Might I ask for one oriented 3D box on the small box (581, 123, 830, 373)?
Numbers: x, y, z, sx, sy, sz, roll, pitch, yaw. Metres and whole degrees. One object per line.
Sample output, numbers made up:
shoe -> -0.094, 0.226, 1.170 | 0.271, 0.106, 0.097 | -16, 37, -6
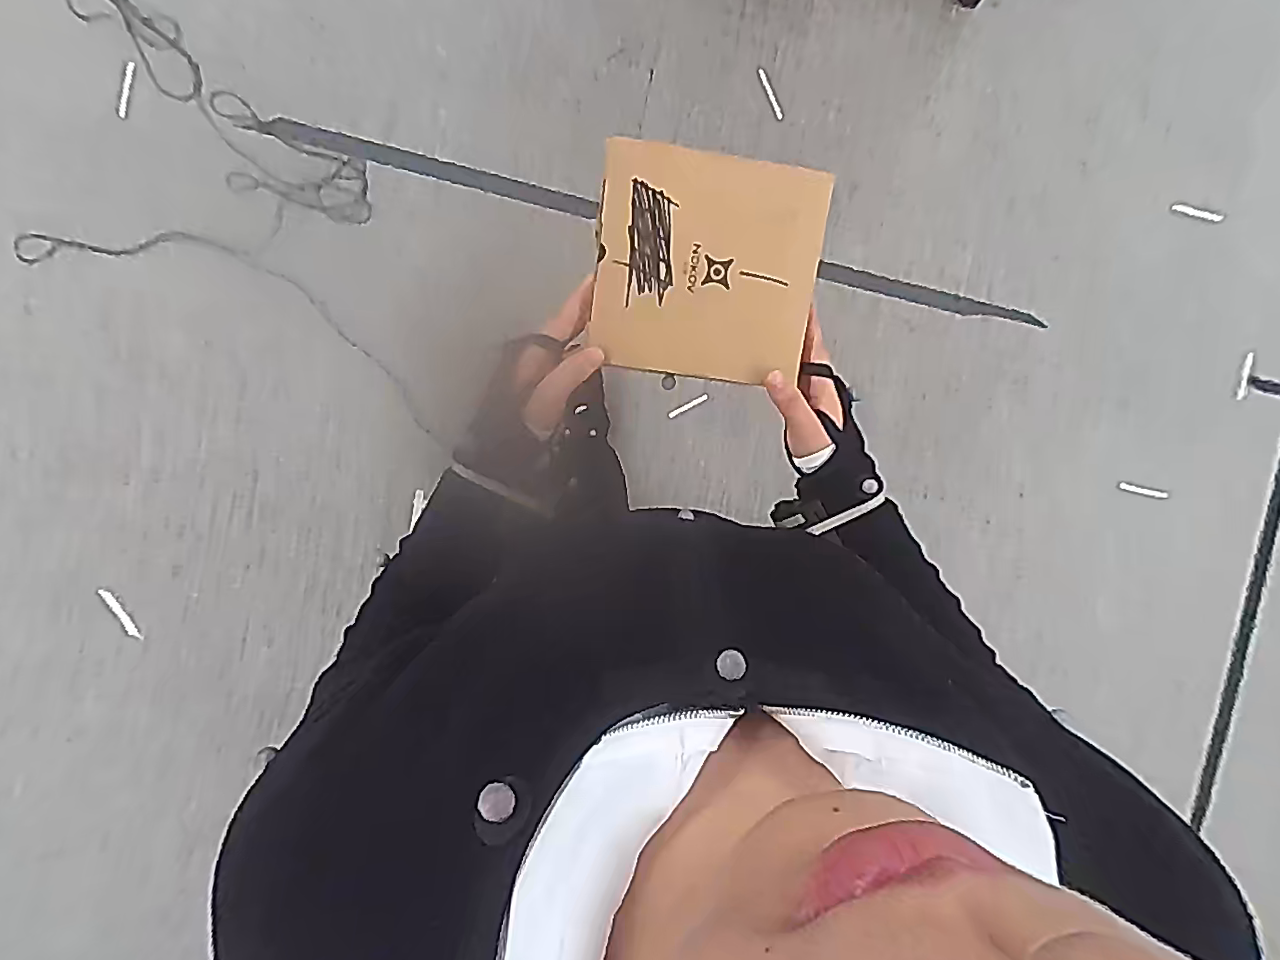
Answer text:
small box -> 0.045, -0.190, 0.498 | 0.179, 0.176, 0.168 | 6, 101, -5
